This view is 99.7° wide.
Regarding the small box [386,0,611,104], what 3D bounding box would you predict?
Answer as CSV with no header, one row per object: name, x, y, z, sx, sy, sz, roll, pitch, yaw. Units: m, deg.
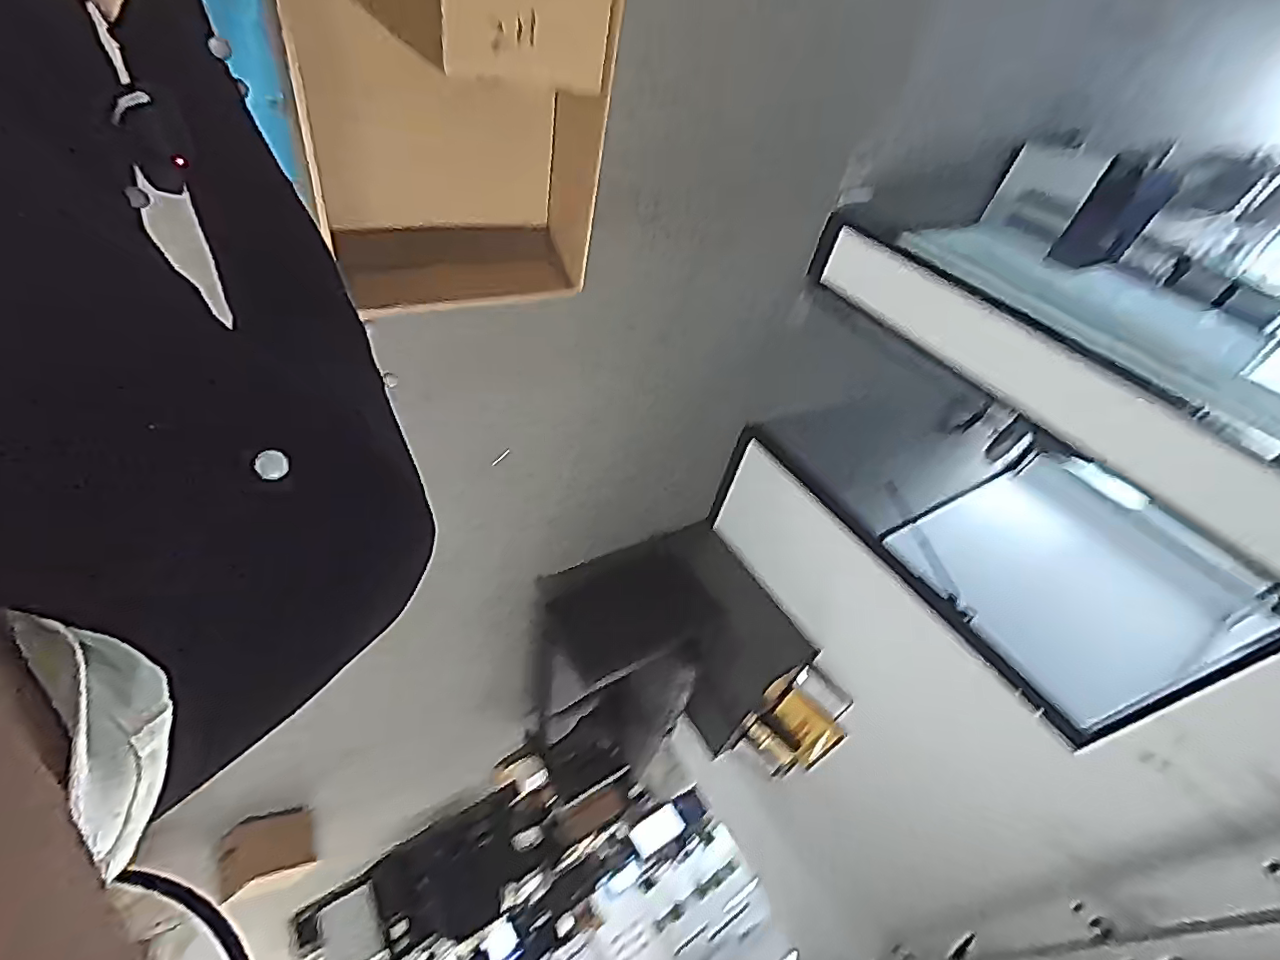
small box,-0.138,-0.492,0.514,0.168,0.176,0.179,-18,143,-31
